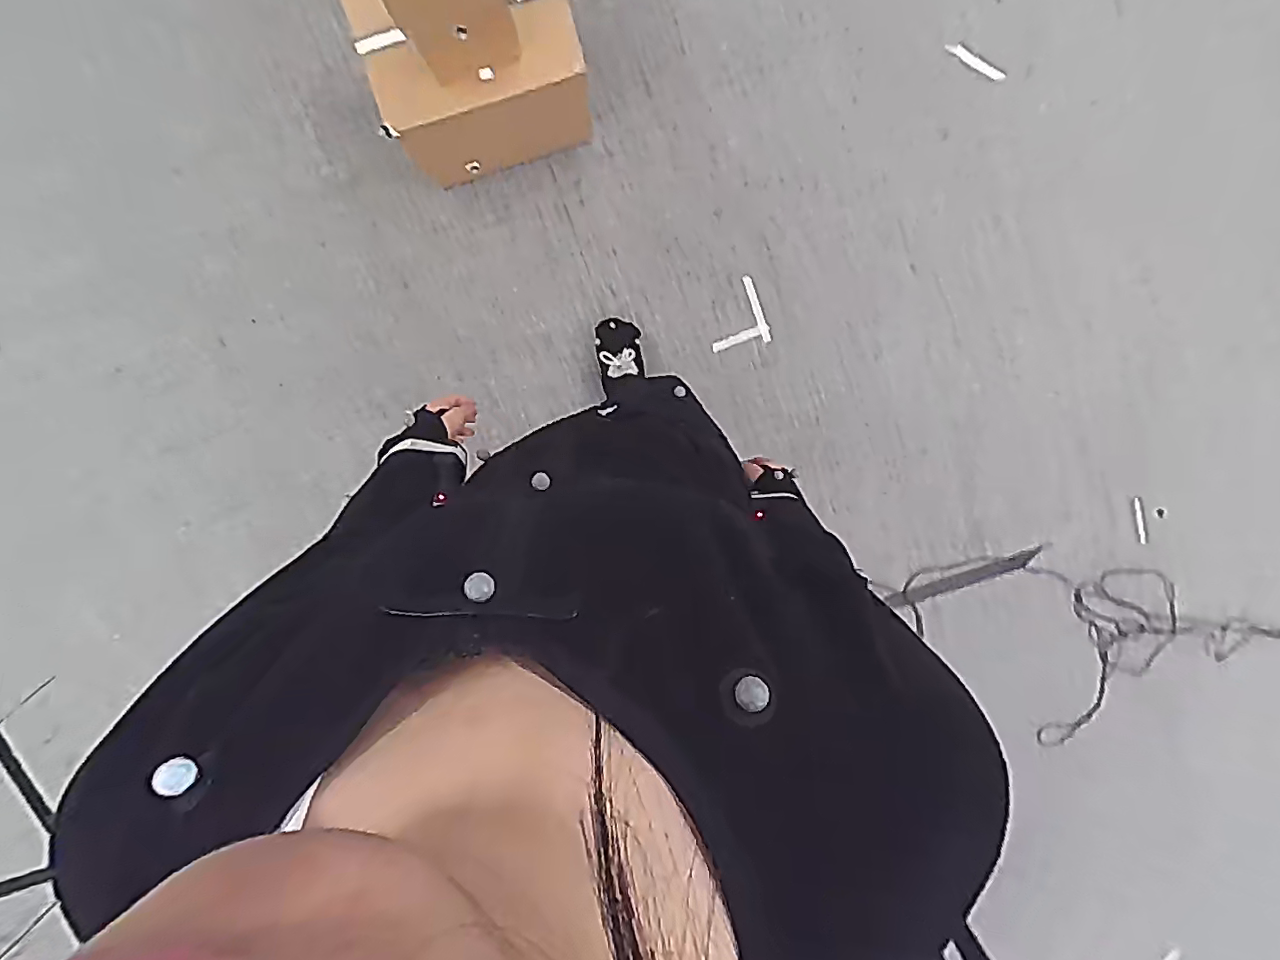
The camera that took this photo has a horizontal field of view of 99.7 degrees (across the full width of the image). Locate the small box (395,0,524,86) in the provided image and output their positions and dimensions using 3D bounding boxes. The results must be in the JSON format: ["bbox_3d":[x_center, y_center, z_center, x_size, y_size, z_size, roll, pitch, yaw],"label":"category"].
[{"bbox_3d":[-0.322,-0.835,0.941,0.179,0.176,0.168,-20,101,1],"label":"small box"}]
